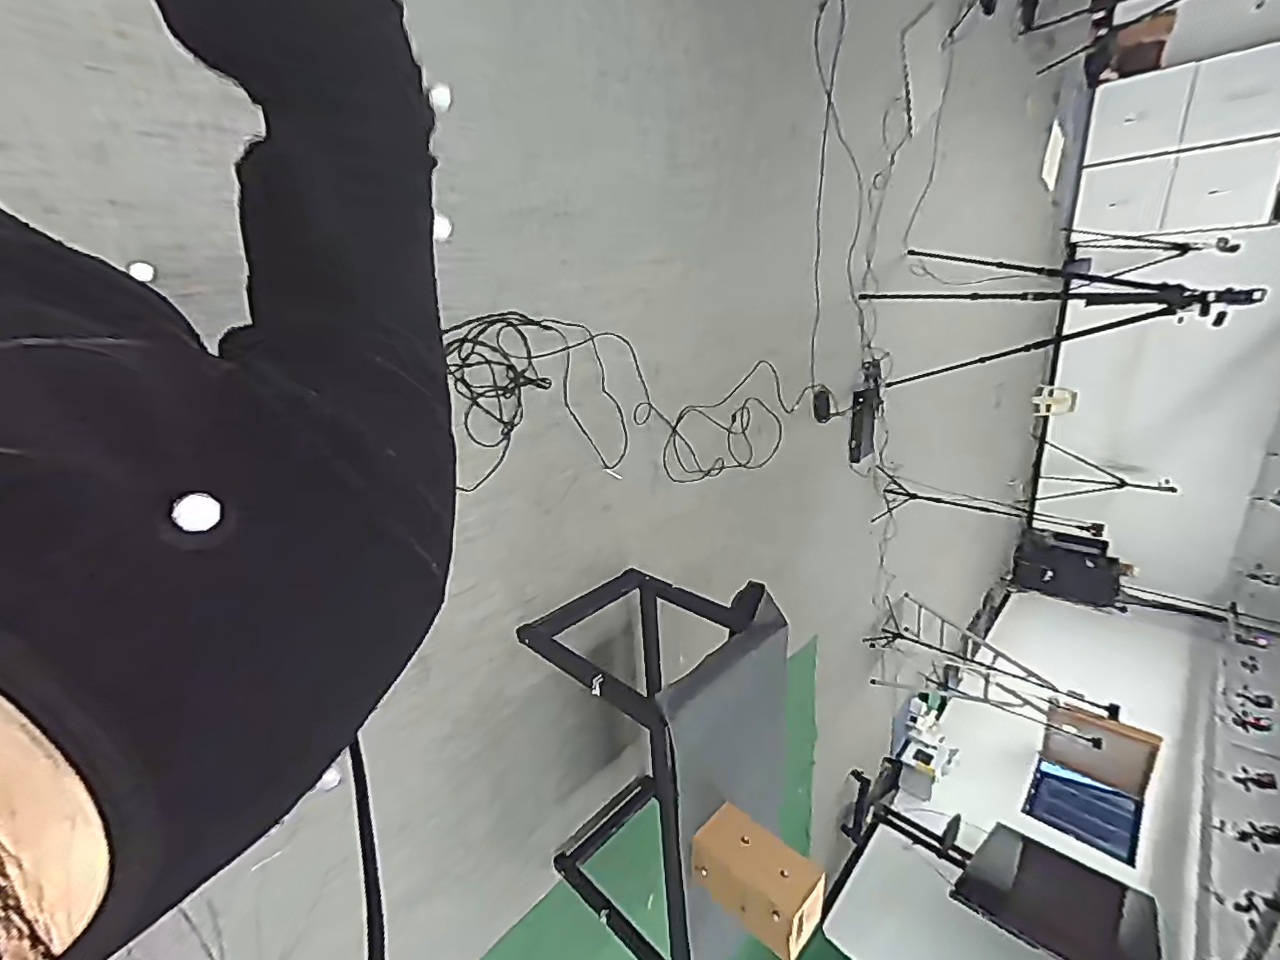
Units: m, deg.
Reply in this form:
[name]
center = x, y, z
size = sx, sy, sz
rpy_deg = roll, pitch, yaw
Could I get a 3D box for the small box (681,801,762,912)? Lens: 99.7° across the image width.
[small box]
center = 0.243, 1.109, 1.611
size = 0.179, 0.176, 0.168
rpy_deg = -16, 112, -44
